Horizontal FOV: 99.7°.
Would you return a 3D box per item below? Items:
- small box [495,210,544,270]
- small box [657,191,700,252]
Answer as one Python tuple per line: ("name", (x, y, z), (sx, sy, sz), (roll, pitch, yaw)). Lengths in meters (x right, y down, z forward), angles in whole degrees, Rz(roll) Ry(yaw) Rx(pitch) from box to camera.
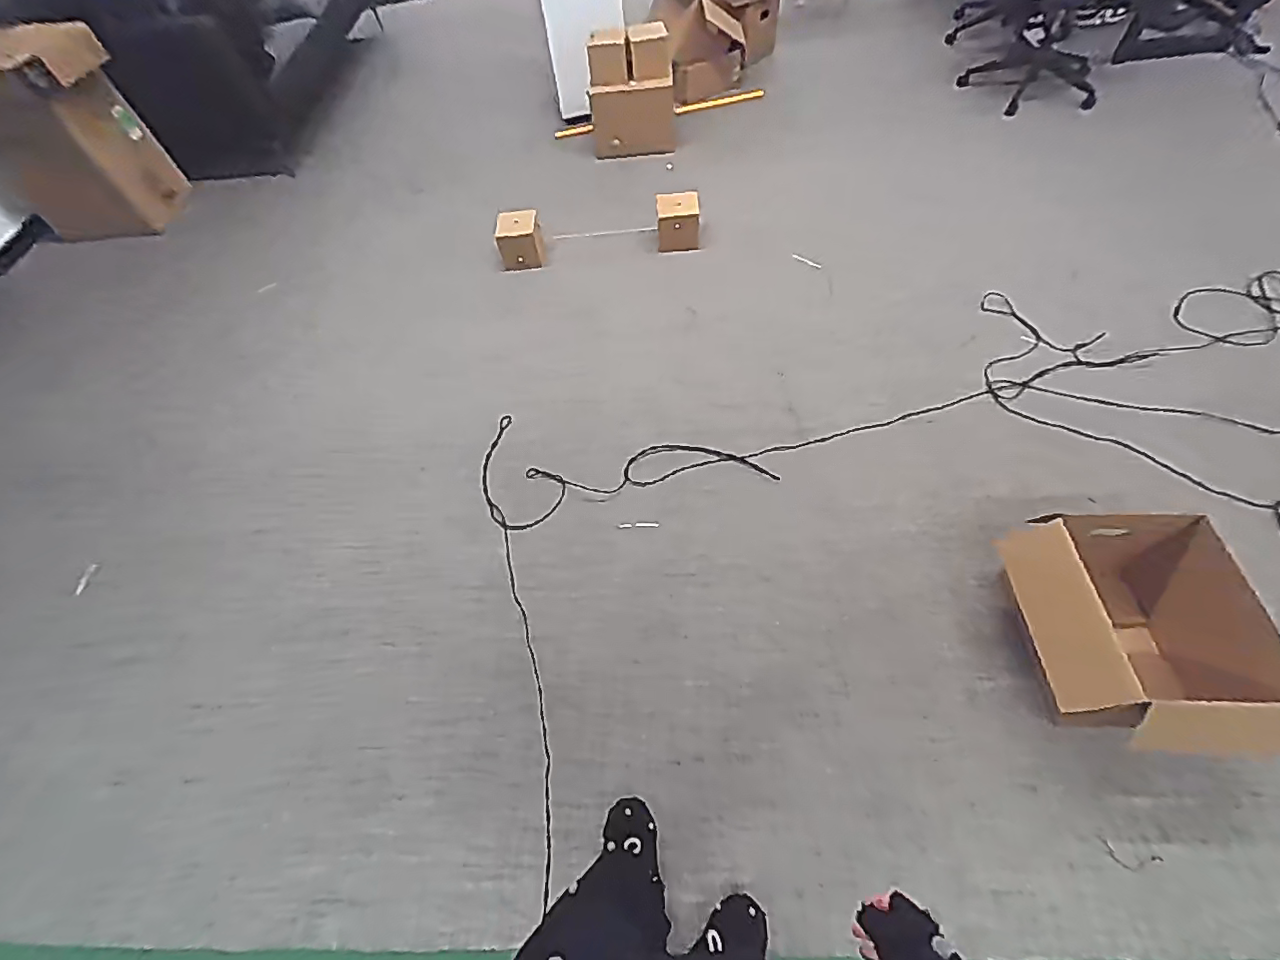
("small box", (-0.518, -1.042, 2.346), (0.168, 0.176, 0.179), (-4, 57, 3))
("small box", (0.164, -1.103, 2.315), (0.179, 0.176, 0.168), (-4, 58, 4))
